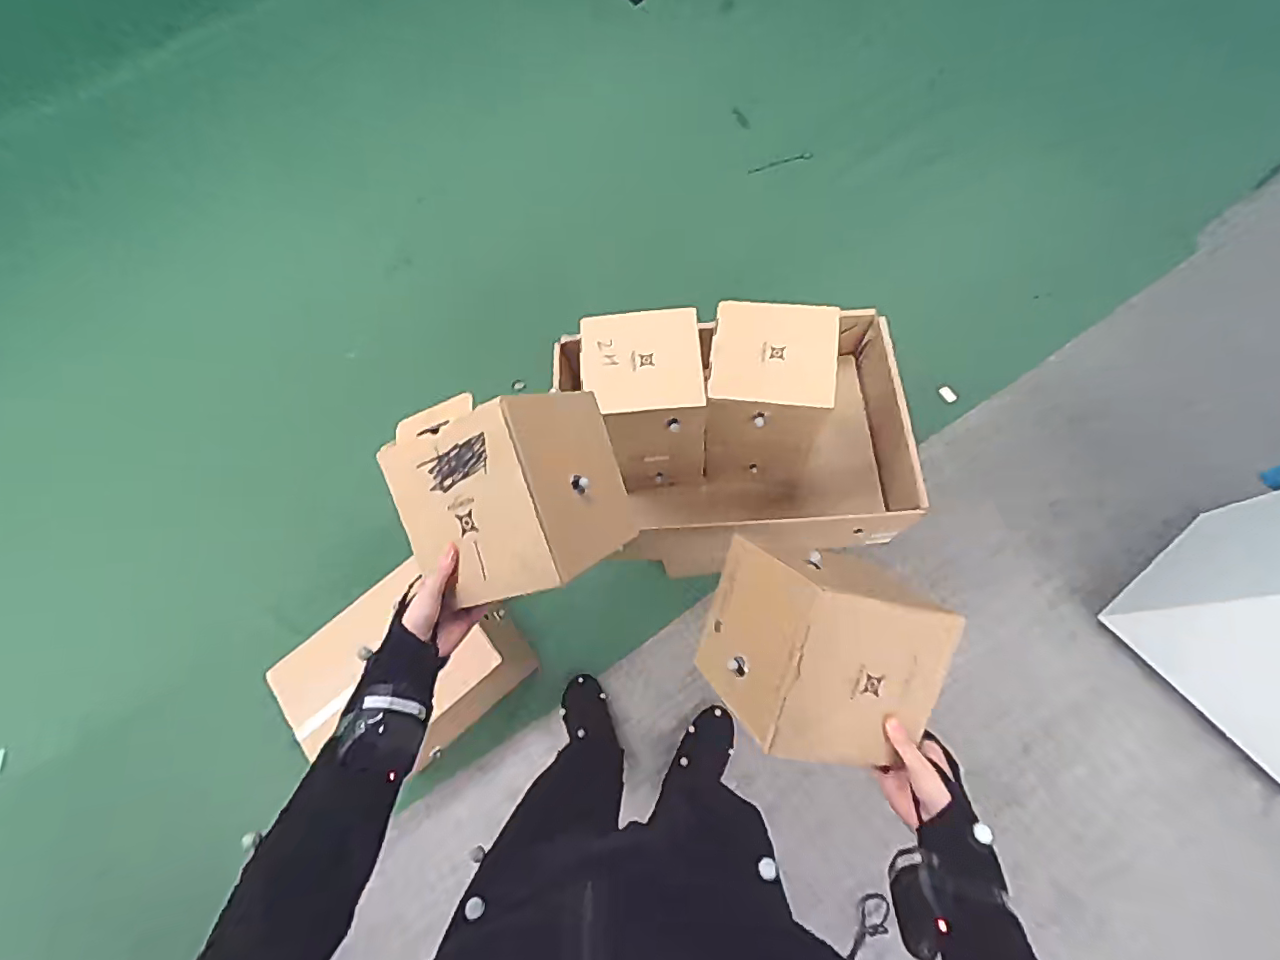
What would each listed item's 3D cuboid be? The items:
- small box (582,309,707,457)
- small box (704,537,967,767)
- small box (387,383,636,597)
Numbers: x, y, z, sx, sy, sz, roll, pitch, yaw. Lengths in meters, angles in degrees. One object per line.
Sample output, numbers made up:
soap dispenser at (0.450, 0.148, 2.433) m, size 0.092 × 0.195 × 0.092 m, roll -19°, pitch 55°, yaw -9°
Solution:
small box at (0.008, -0.144, 0.853) m, size 0.179 × 0.176 × 0.168 m, roll -5°, pitch 69°, yaw 3°
small box at (0.191, 0.171, 0.576) m, size 0.179 × 0.176 × 0.168 m, roll 15°, pitch 97°, yaw -19°
small box at (-0.126, 0.004, 0.581) m, size 0.168 × 0.176 × 0.179 m, roll -16°, pitch 94°, yaw 26°
